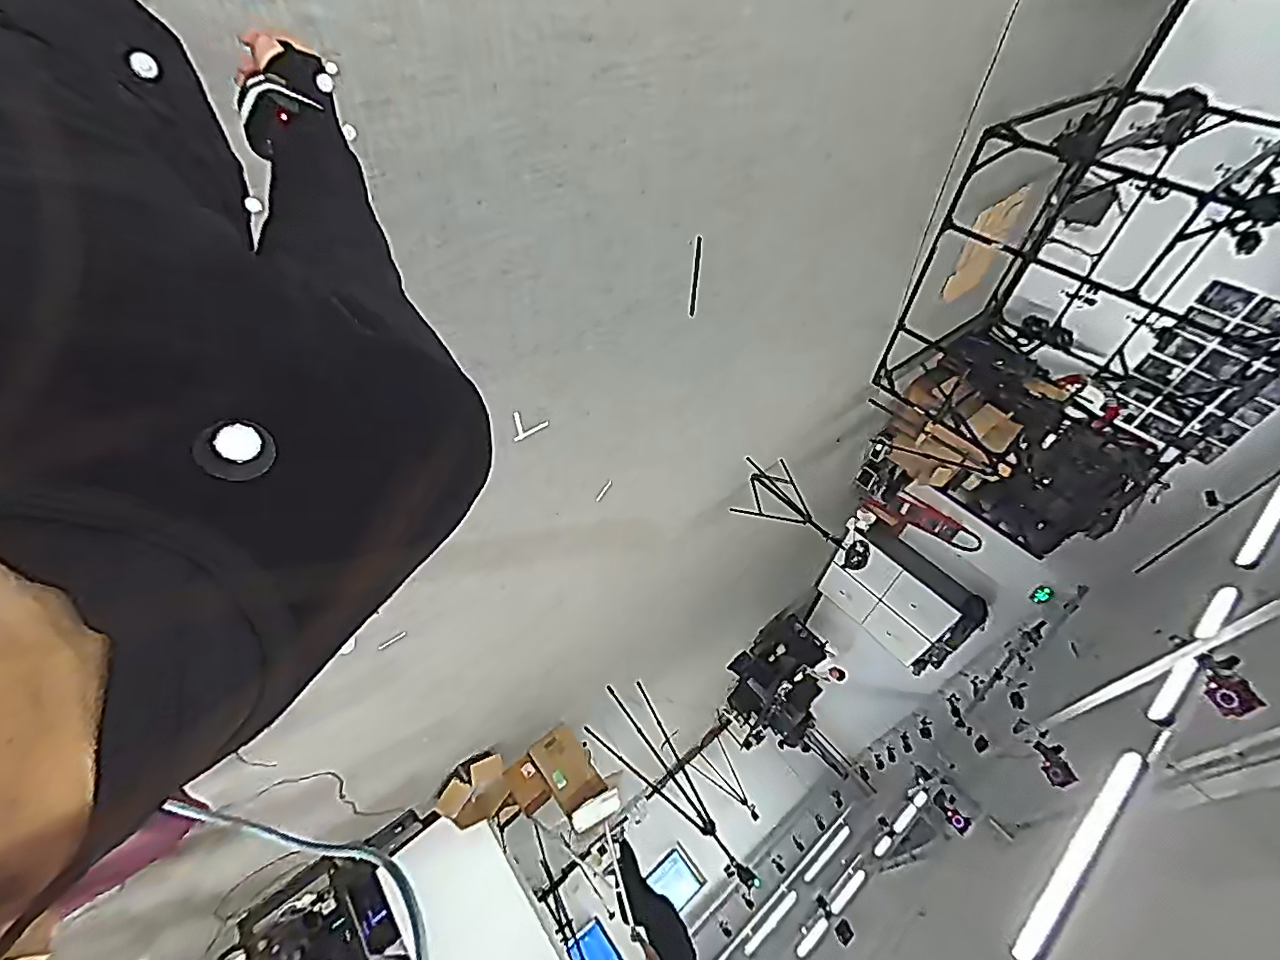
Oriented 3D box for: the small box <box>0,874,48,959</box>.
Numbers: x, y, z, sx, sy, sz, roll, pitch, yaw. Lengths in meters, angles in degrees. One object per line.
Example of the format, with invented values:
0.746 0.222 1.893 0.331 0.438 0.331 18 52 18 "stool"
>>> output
-1.300 0.894 1.027 0.179 0.176 0.168 -36 149 -19 "small box"
